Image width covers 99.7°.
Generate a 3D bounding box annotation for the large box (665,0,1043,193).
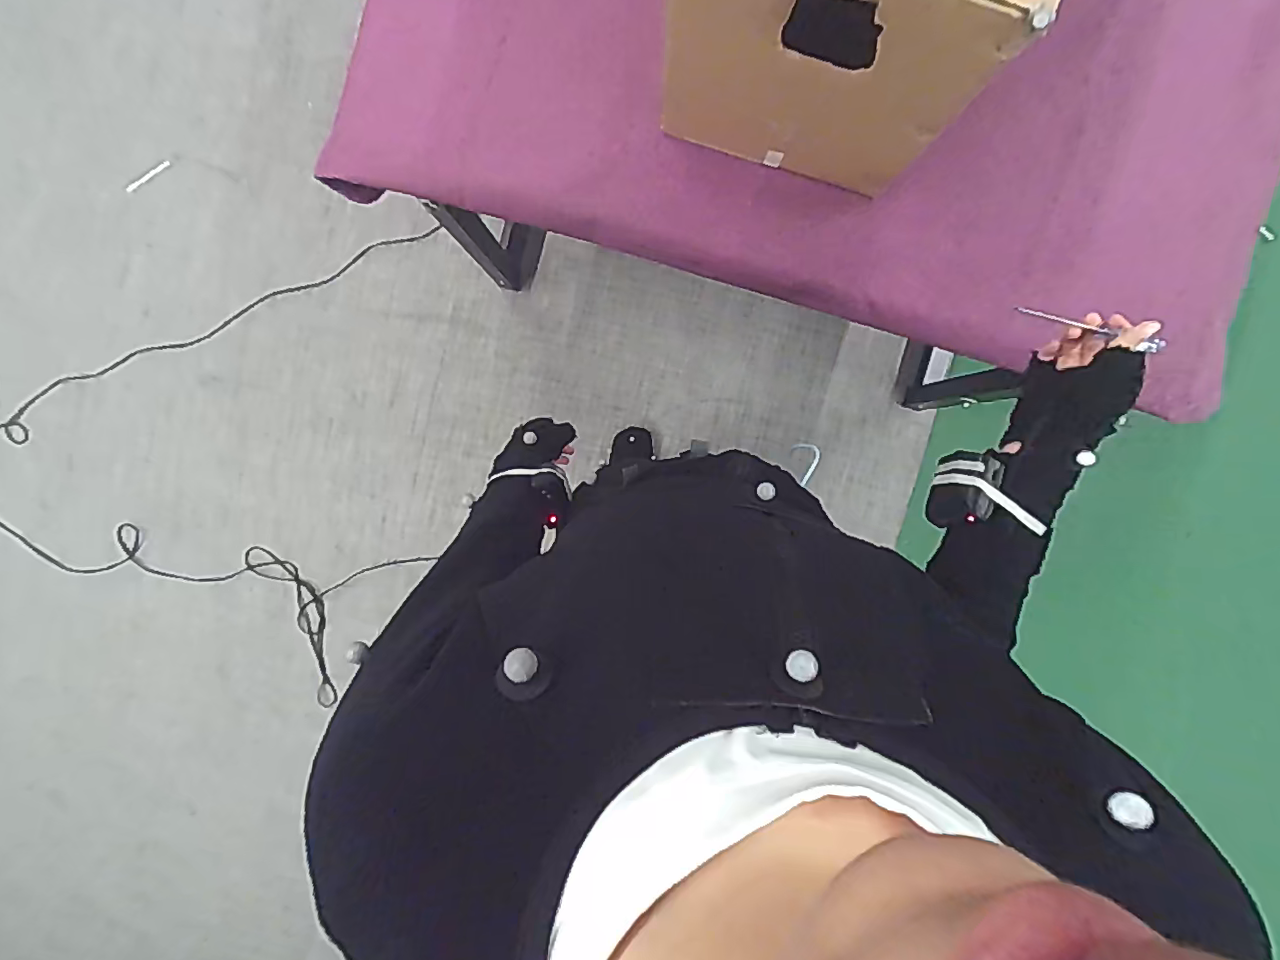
[{"bbox_3d":[0.233,-0.610,0.574,0.320,0.320,0.408,17,95,-1],"label":"large box"}]
